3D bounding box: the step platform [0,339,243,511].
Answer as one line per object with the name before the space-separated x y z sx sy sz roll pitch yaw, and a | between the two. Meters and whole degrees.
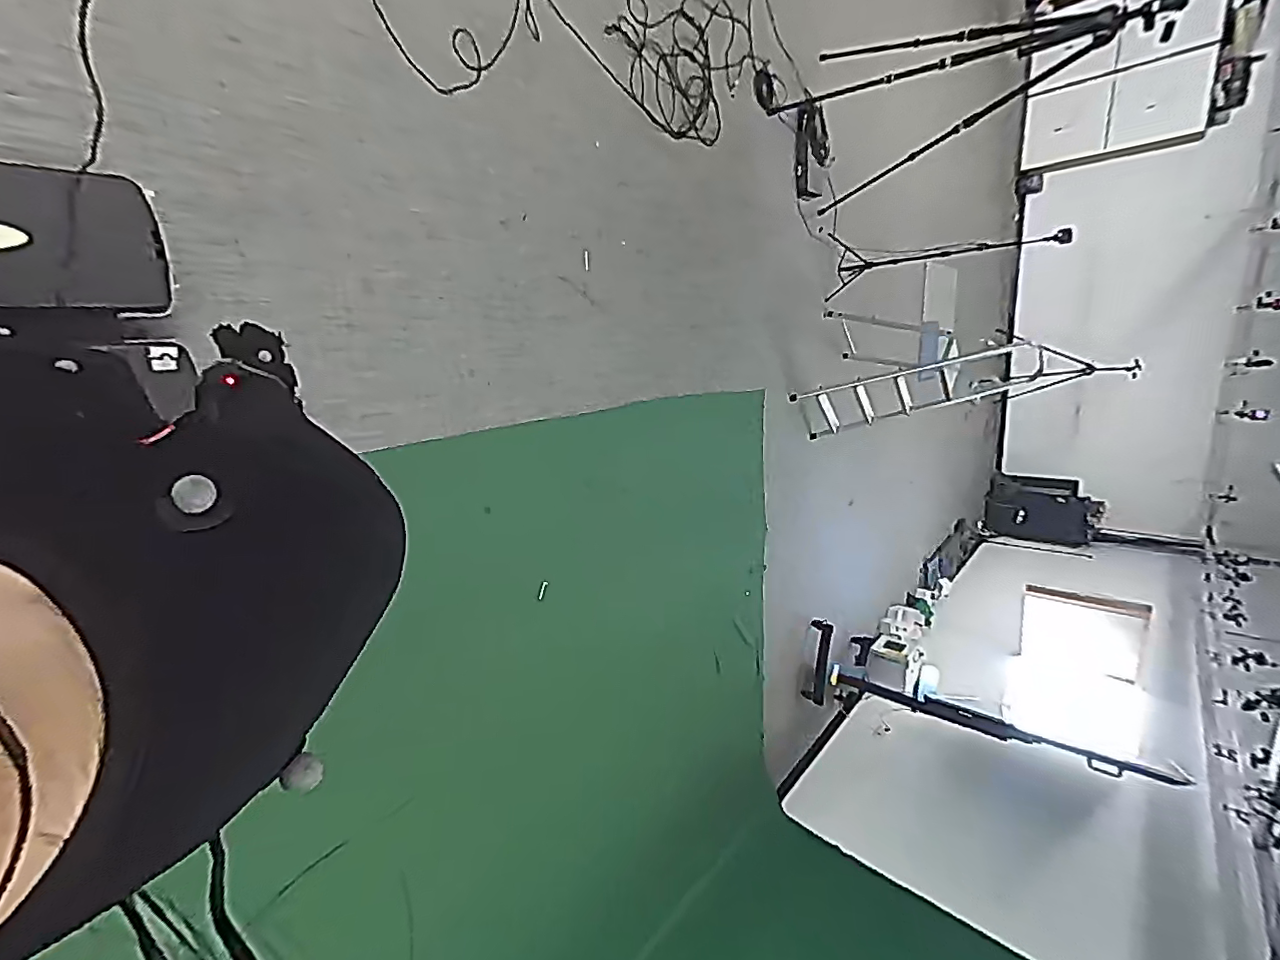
step platform | -1.104 -0.076 0.902 0.684 0.204 0.286 -18 109 -46
